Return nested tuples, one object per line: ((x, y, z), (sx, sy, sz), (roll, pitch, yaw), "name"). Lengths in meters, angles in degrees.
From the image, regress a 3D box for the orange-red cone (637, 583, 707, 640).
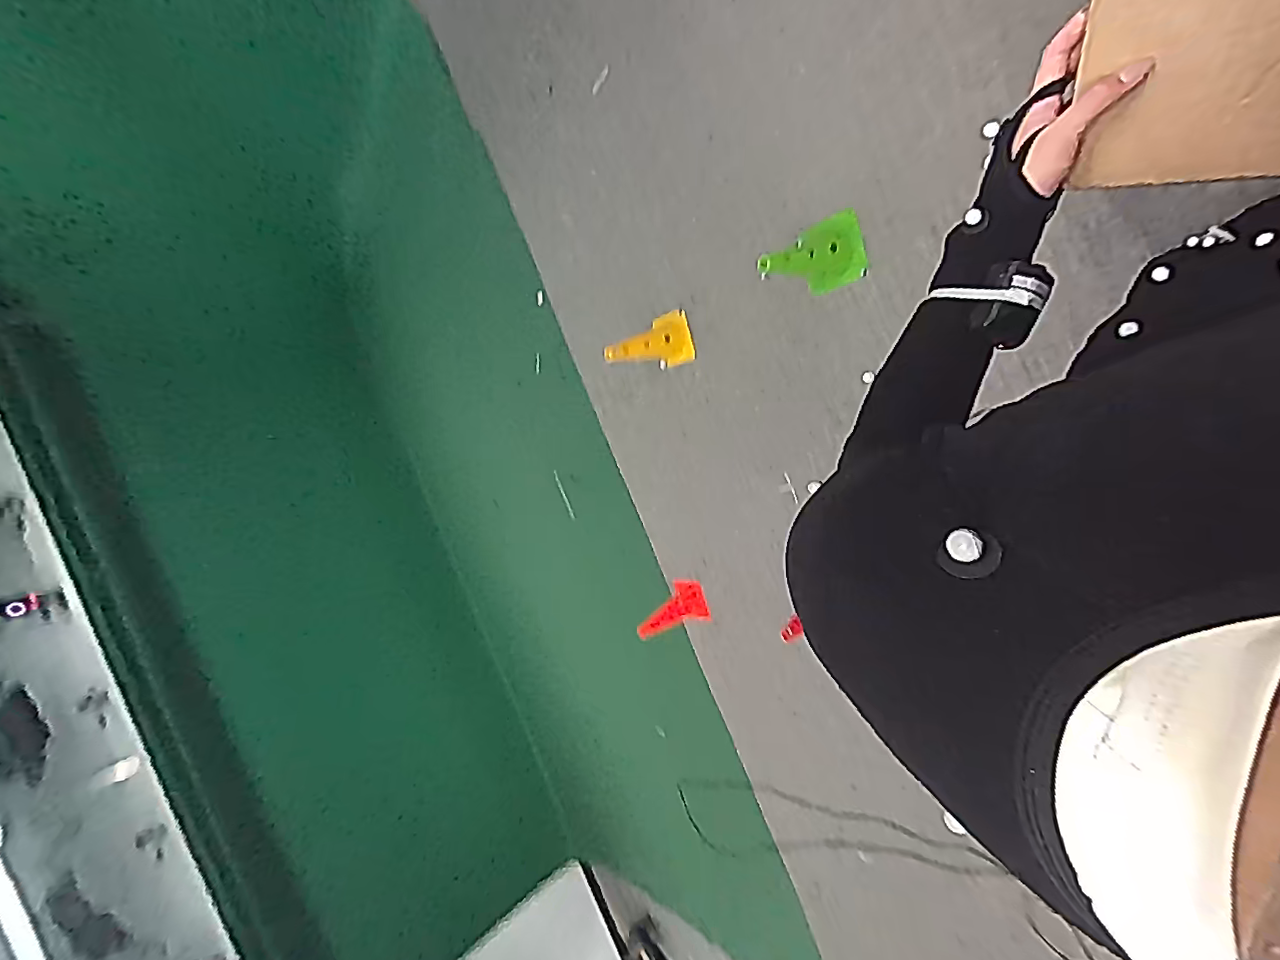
((0.128, 0.677, 2.634), (0.198, 0.360, 0.199), (-8, 104, 53), "orange-red cone")

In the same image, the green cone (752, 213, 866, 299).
((0.454, -0.628, 1.558), (0.202, 0.368, 0.200), (-10, 100, 53), "green cone")
